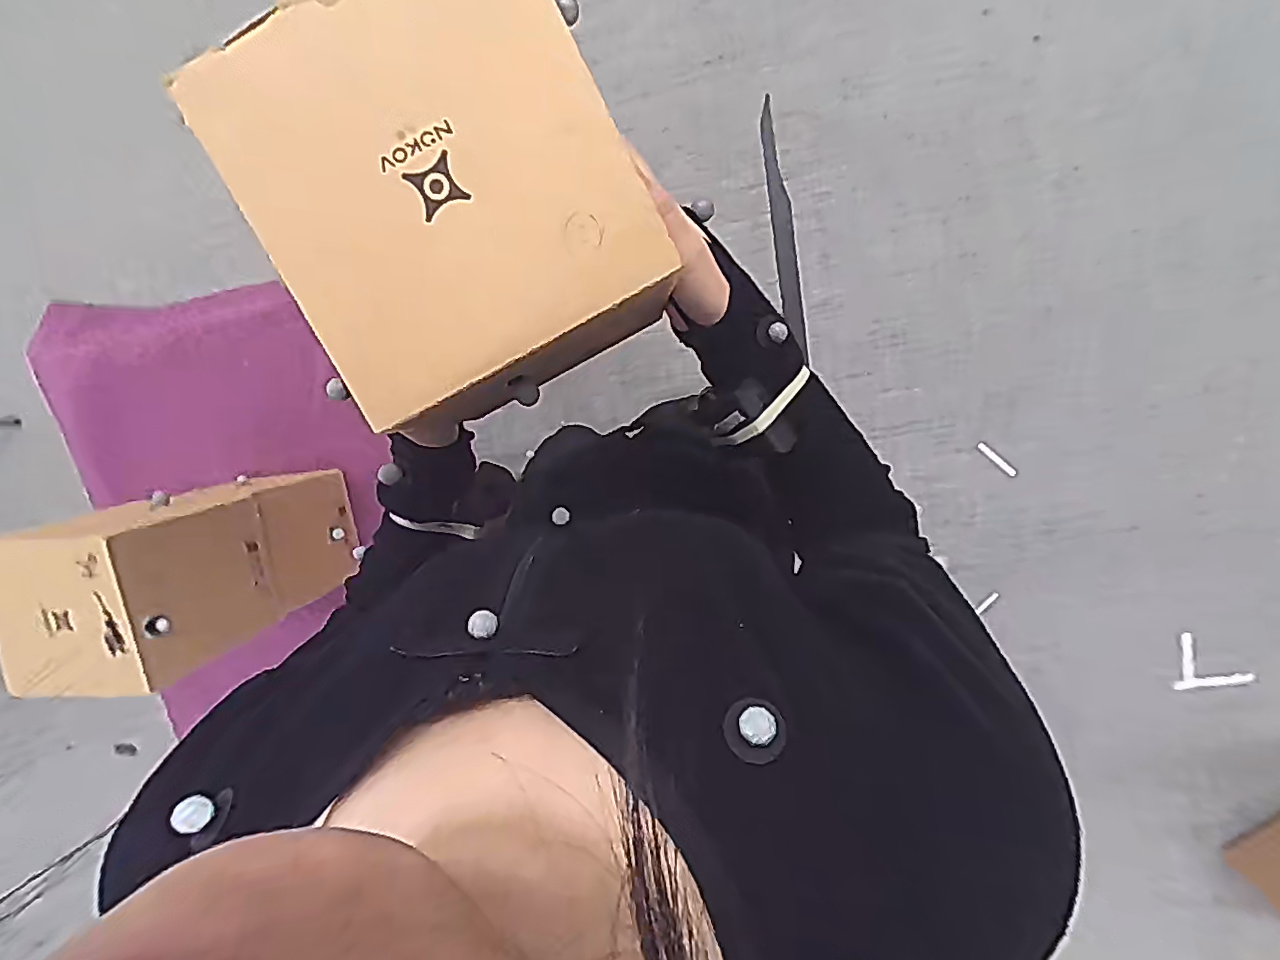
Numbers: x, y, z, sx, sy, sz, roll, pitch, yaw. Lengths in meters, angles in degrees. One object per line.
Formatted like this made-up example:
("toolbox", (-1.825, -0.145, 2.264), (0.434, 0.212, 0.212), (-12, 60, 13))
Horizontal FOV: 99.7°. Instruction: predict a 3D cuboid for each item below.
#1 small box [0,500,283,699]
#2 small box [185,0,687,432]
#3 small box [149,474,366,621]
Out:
("small box", (-0.552, 0.122, 0.606), (0.179, 0.176, 0.168), (-4, 101, 11))
("small box", (-0.086, -0.146, 0.318), (0.168, 0.176, 0.179), (-27, 97, 3))
("small box", (-0.531, 0.091, 0.766), (0.179, 0.176, 0.168), (-6, 100, 10))
